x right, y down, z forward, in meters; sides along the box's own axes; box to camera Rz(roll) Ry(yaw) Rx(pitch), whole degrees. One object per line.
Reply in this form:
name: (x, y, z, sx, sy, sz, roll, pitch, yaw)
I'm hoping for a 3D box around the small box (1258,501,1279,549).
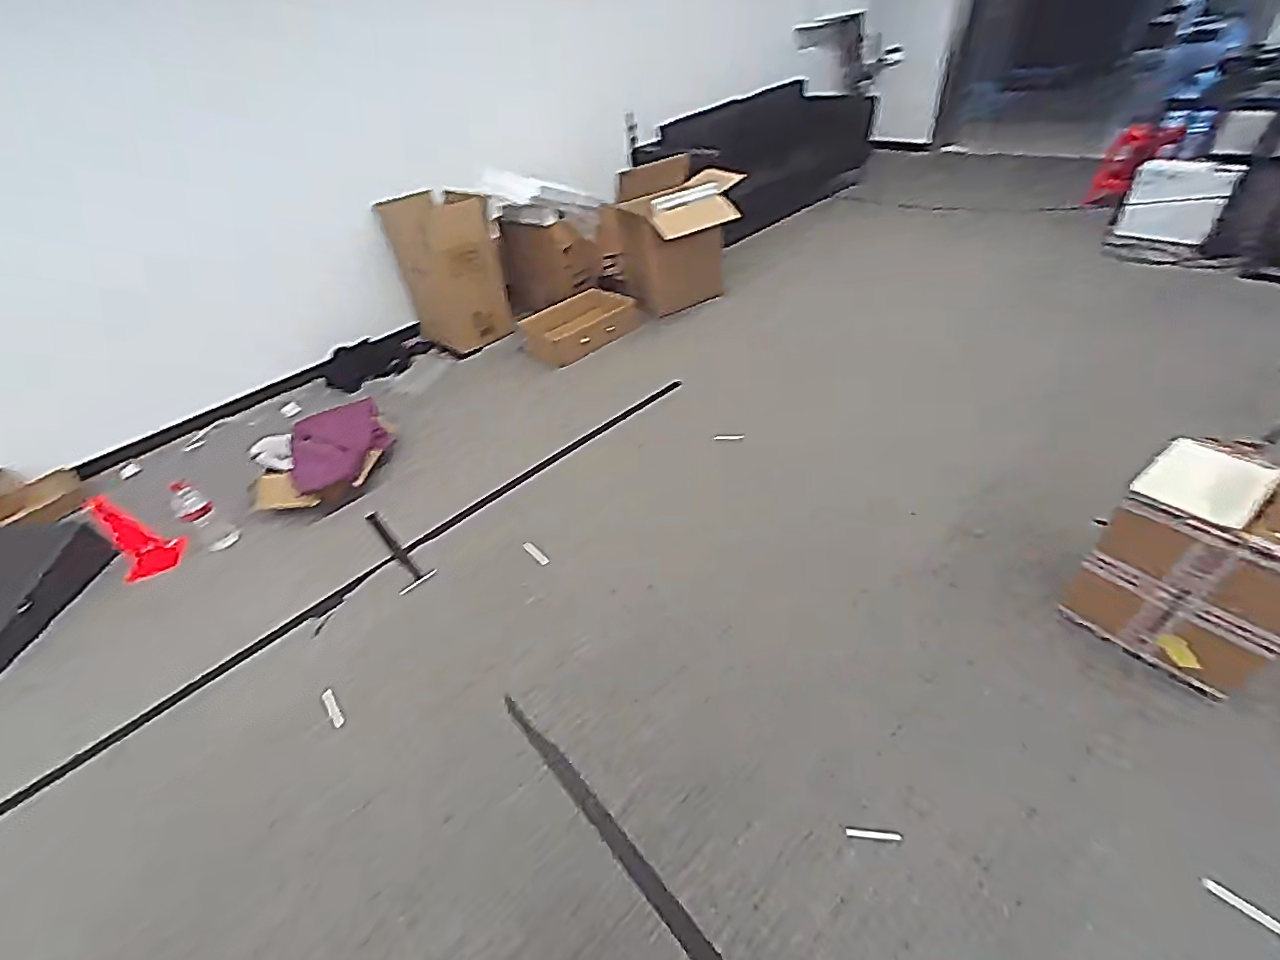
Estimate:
small box: (1.471, 0.077, 1.122, 0.168, 0.176, 0.179, -33, 48, -24)
